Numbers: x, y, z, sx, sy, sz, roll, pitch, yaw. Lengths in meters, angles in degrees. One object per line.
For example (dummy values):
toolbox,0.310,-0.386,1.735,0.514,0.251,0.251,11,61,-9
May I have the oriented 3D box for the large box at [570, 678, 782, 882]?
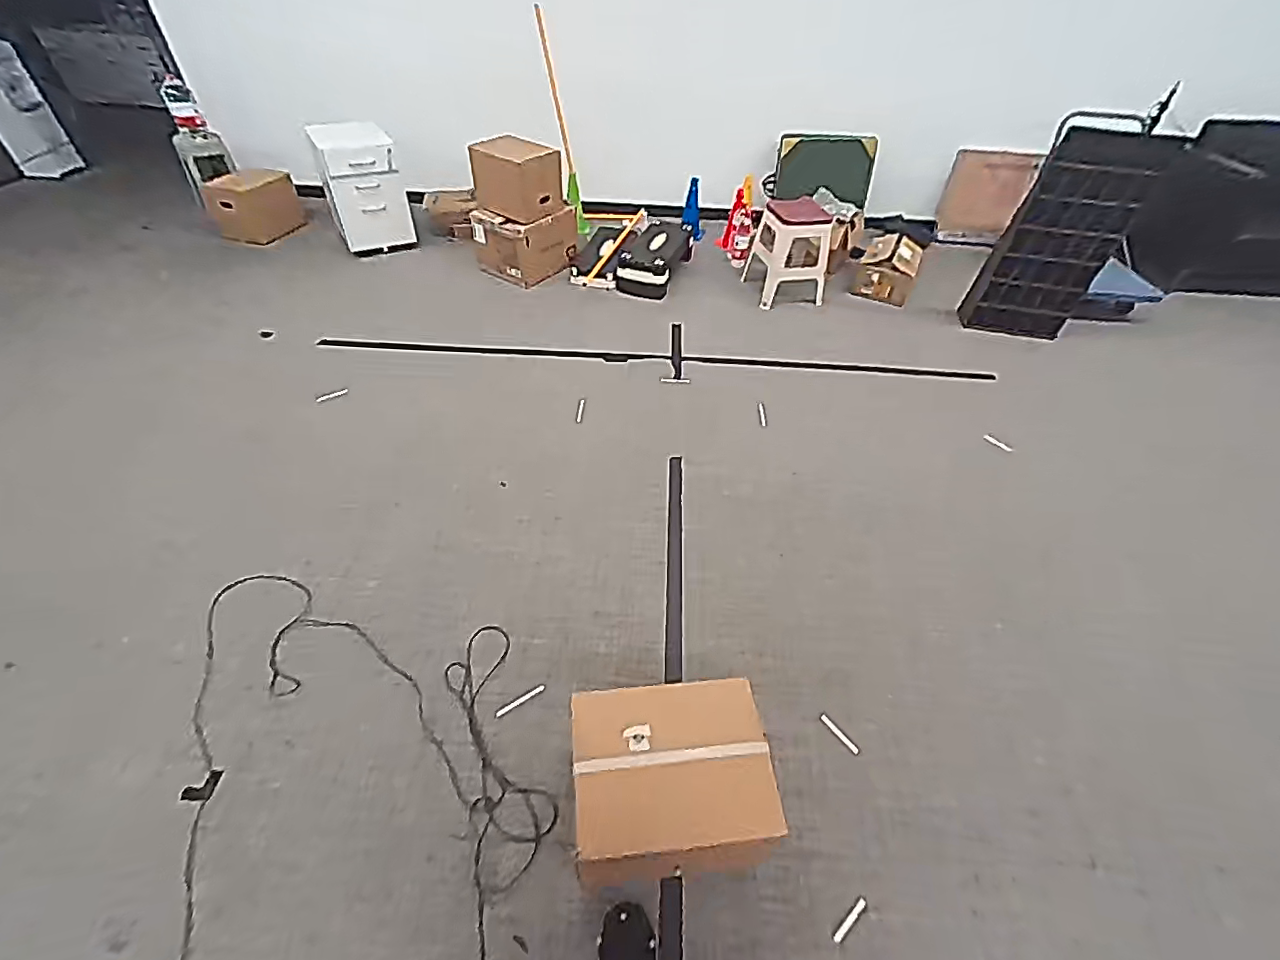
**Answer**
large box,0.056,0.678,1.221,0.408,0.320,0.320,-3,46,-6
